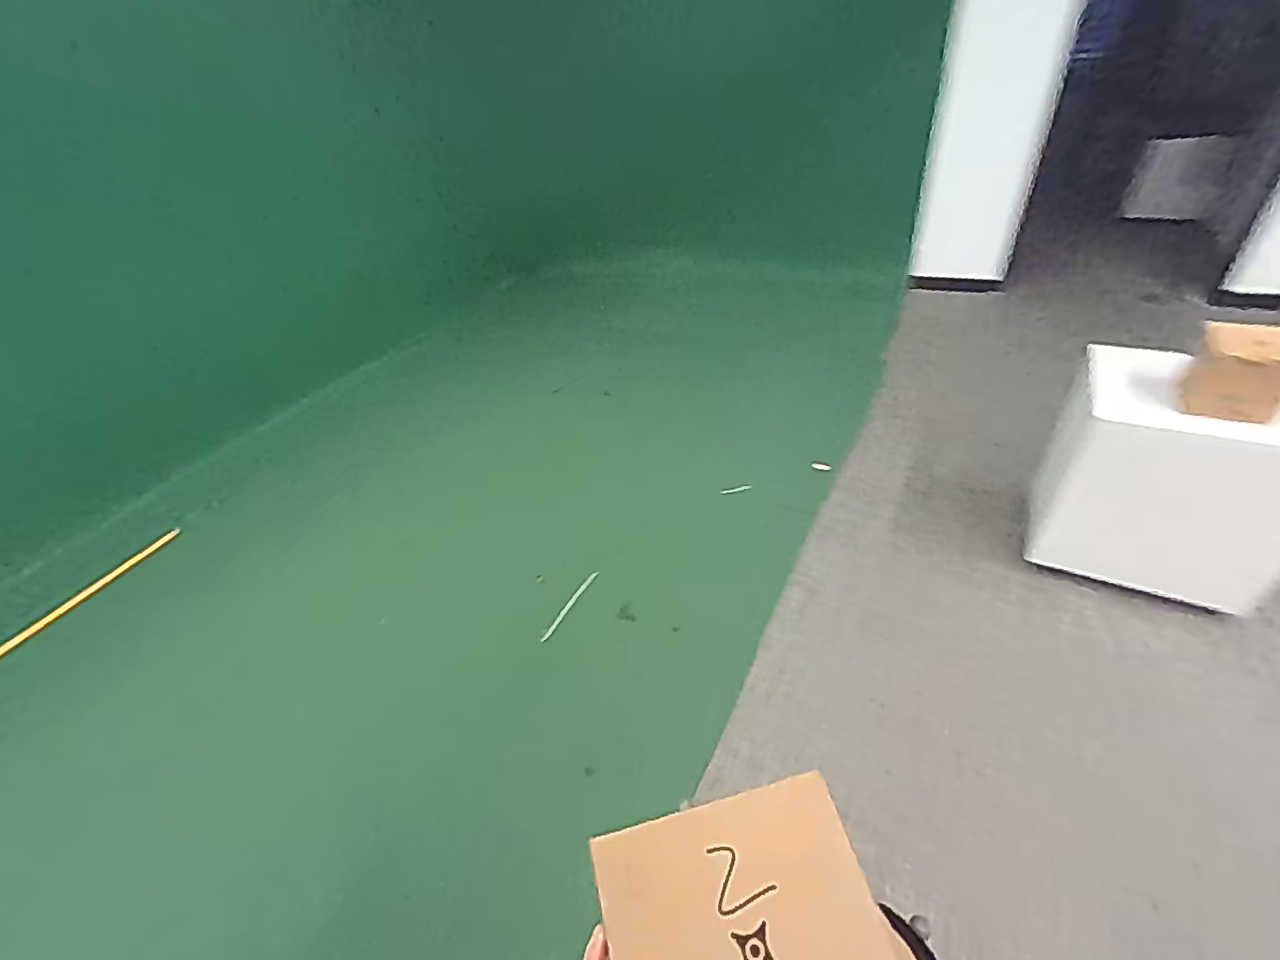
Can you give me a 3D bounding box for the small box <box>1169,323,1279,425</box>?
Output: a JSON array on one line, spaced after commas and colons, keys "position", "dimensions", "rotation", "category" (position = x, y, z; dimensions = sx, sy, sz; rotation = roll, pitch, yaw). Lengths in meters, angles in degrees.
[{"position": [1.421, -0.257, 1.299], "dimensions": [0.168, 0.176, 0.179], "rotation": [15, 45, 28], "category": "small box"}]
